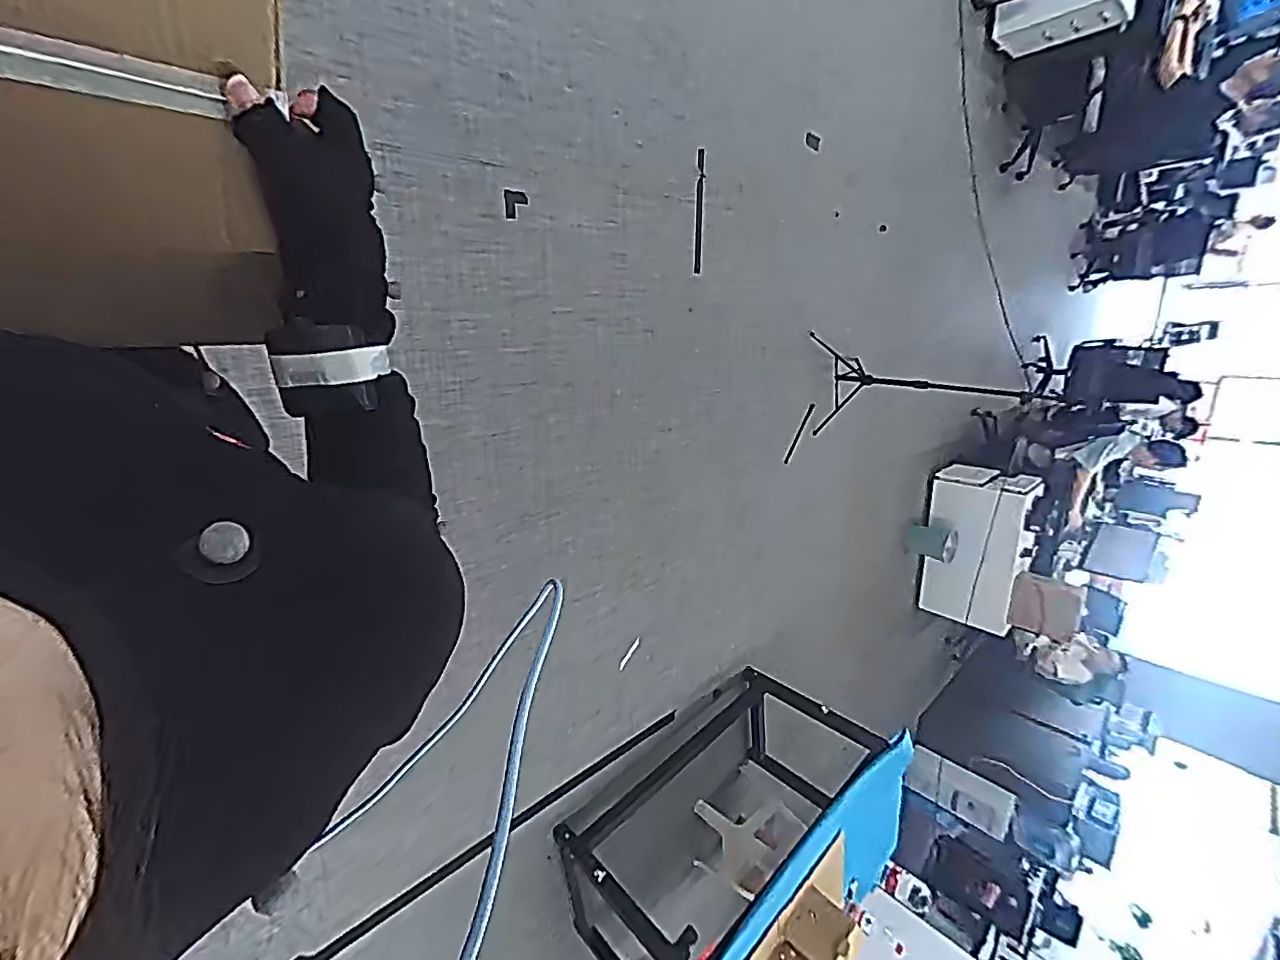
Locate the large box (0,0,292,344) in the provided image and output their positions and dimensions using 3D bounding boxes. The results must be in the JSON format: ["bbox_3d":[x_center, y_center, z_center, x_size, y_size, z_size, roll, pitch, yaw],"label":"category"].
[{"bbox_3d":[-0.465,-0.284,0.290,0.408,0.320,0.320,-14,138,-40],"label":"large box"}]
